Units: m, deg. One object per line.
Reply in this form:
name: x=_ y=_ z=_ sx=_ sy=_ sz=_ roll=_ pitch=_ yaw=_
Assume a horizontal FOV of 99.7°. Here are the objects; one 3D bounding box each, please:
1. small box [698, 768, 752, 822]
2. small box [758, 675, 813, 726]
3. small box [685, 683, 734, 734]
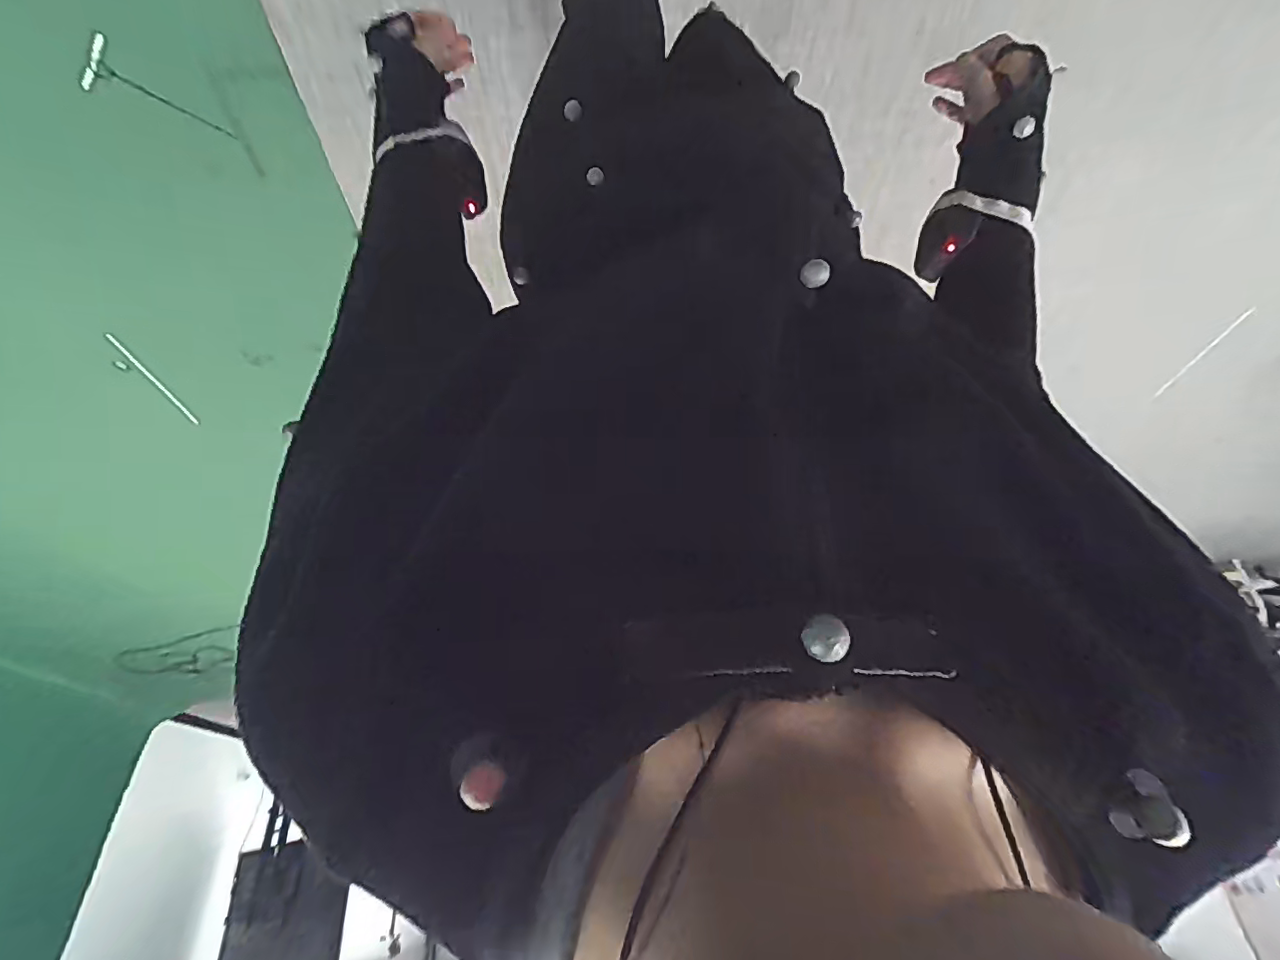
small box: x=0.332 y=1.254 z=2.154 sx=0.168 sy=0.176 sz=0.179 roll=-4 pitch=145 yaw=-6
small box: x=0.629 y=0.967 z=2.373 sx=0.179 sy=0.176 sz=0.168 roll=-4 pitch=146 yaw=-5
small box: x=0.296 y=0.986 z=2.343 sx=0.168 sy=0.176 sz=0.179 roll=-3 pitch=146 yaw=-6
